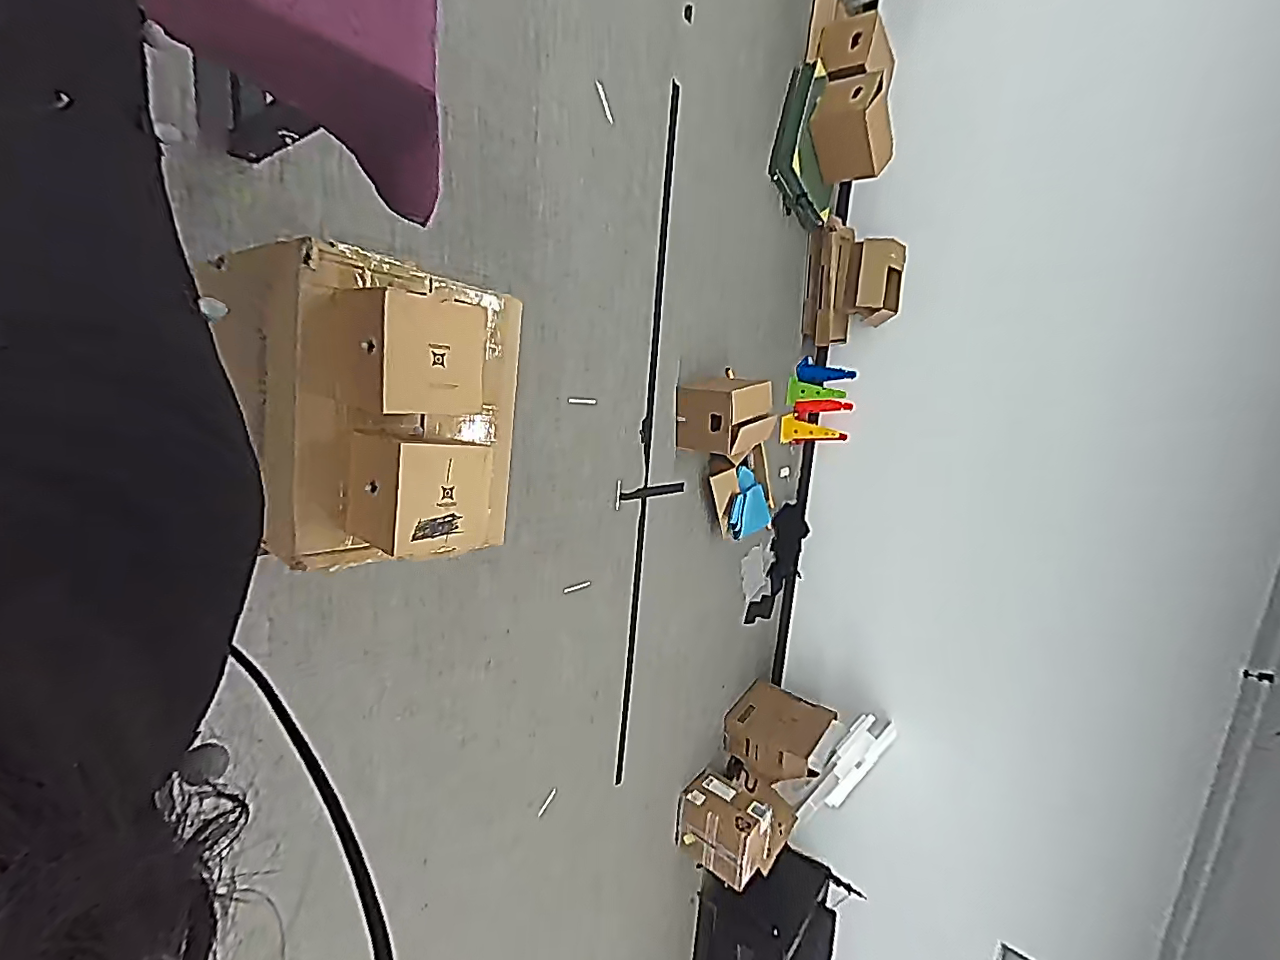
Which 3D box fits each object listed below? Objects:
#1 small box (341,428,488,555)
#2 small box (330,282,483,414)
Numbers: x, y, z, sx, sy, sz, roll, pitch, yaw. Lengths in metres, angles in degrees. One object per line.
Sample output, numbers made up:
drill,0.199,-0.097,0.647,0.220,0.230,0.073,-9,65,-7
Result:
small box,-0.379,0.014,0.902,0.168,0.176,0.179,-1,99,-52
small box,-0.369,-0.204,0.853,0.168,0.176,0.179,-6,106,-50
